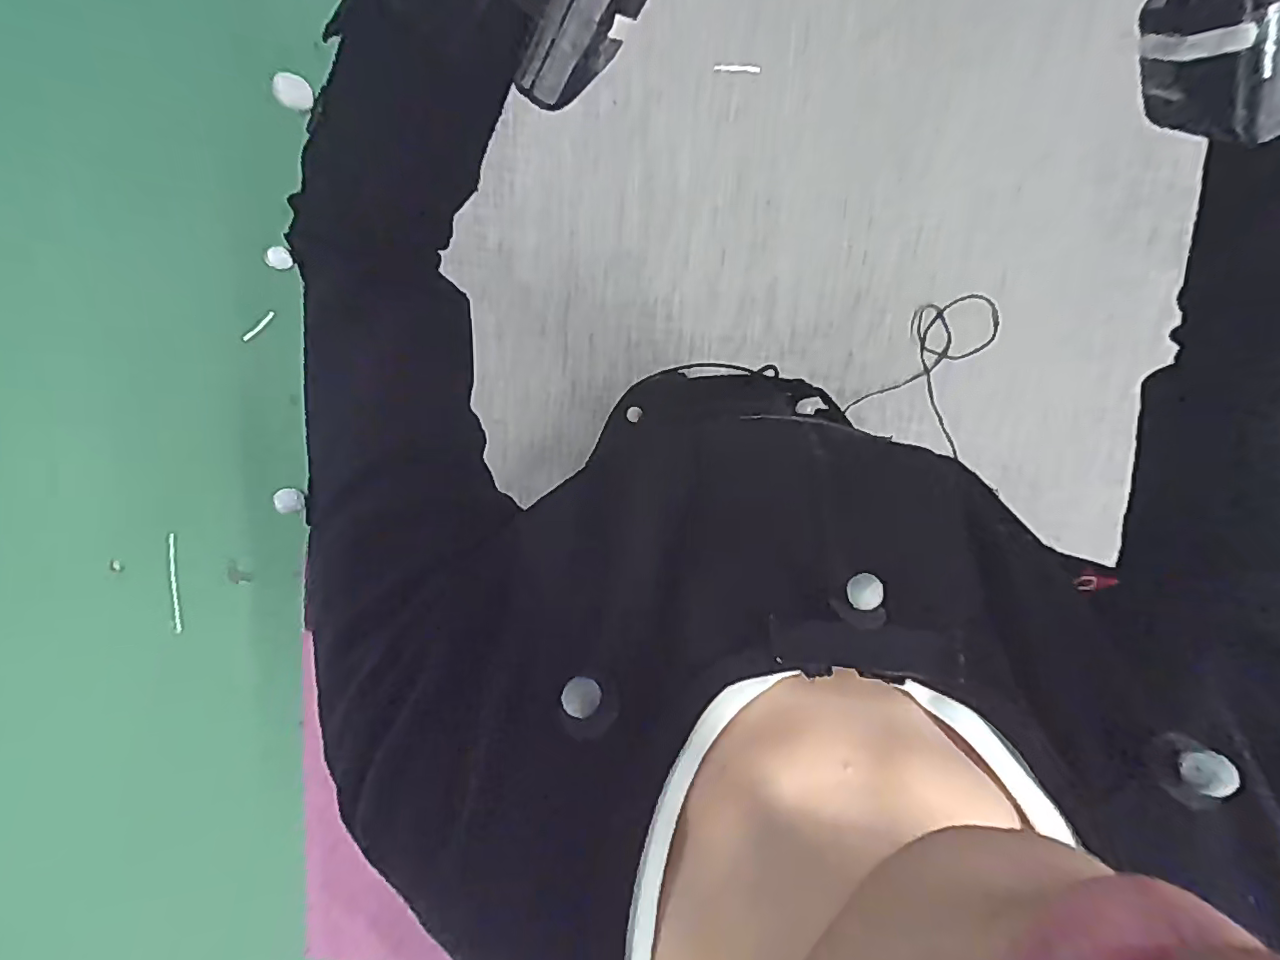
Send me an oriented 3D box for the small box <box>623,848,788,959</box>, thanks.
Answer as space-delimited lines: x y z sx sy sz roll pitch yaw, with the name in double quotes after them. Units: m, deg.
0.066 0.551 0.586 0.168 0.176 0.179 8 100 0 "small box"
